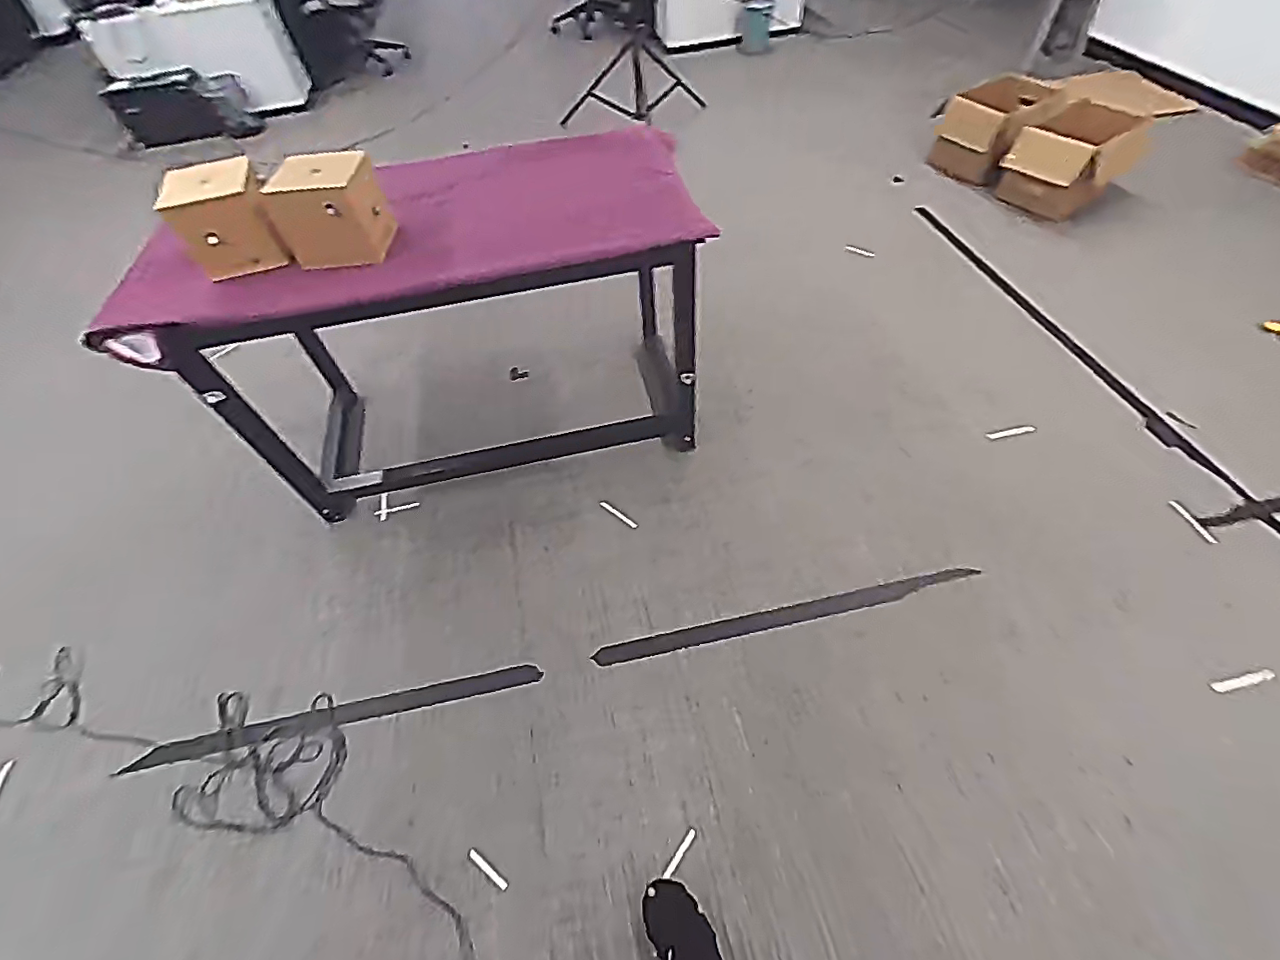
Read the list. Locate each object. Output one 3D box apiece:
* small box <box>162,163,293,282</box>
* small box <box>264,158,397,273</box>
[{"bbox_3d":[-0.892,-0.558,1.191,0.168,0.176,0.179,-19,55,-9],"label":"small box"},{"bbox_3d":[-0.660,-0.574,1.182,0.179,0.176,0.168,-5,52,2],"label":"small box"}]
